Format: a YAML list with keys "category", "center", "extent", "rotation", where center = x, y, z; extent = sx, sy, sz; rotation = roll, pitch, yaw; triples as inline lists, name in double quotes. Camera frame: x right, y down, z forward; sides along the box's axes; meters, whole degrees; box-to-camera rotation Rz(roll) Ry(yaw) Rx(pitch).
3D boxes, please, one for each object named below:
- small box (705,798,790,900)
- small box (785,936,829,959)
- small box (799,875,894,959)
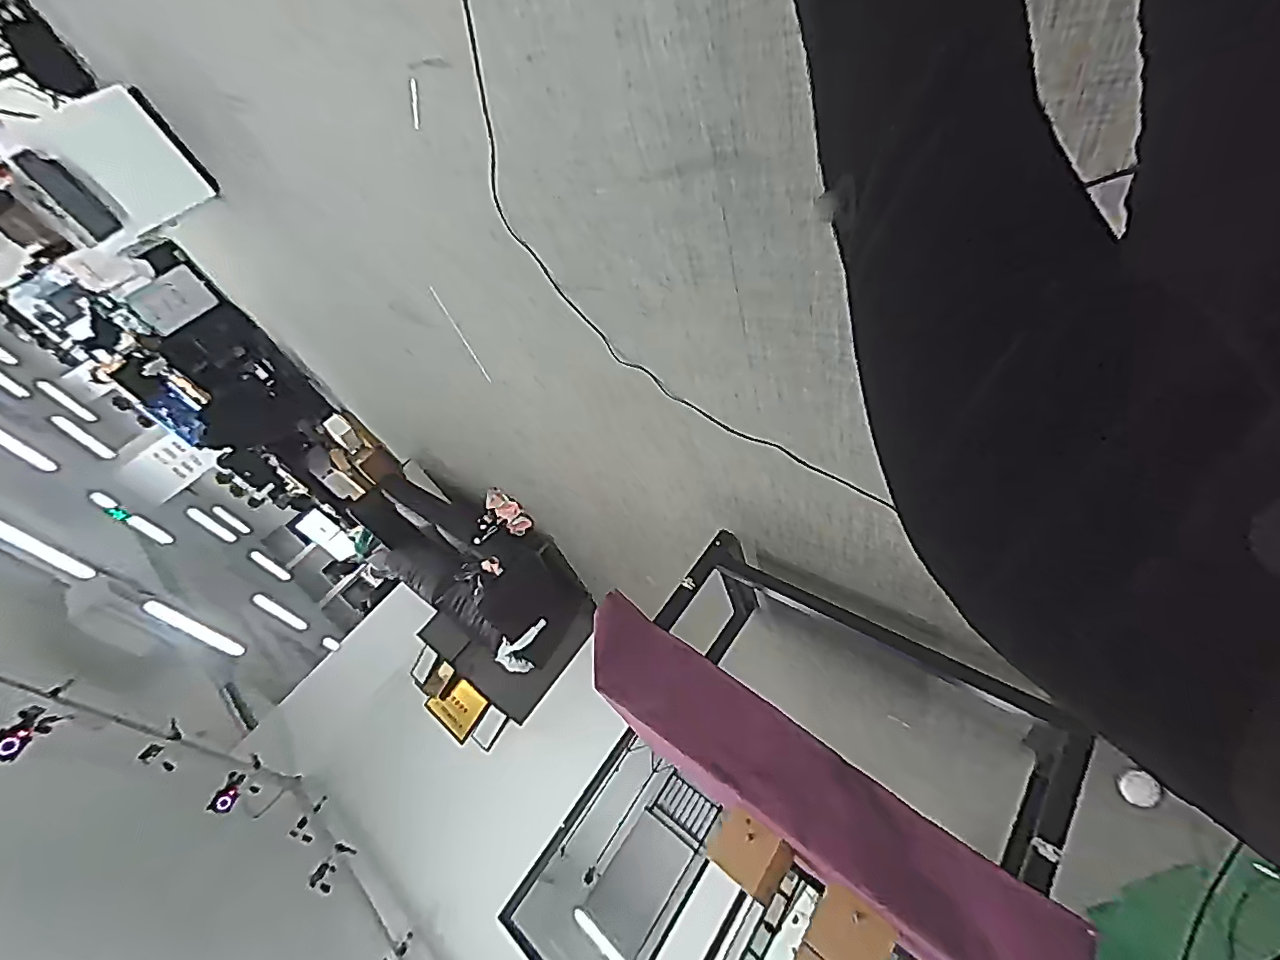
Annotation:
- category: "small box"
  center: [0.325, 1.090, 1.605]
  extent: [0.168, 0.176, 0.179]
  rotation: [17, 147, 43]
- category: "small box"
  center: [0.443, 1.291, 1.356]
  extent: [0.179, 0.176, 0.168]
  rotation: [21, 150, 38]
- category: "small box"
  center: [0.543, 1.177, 1.420]
  extent: [0.179, 0.176, 0.168]
  rotation: [22, 151, 39]
